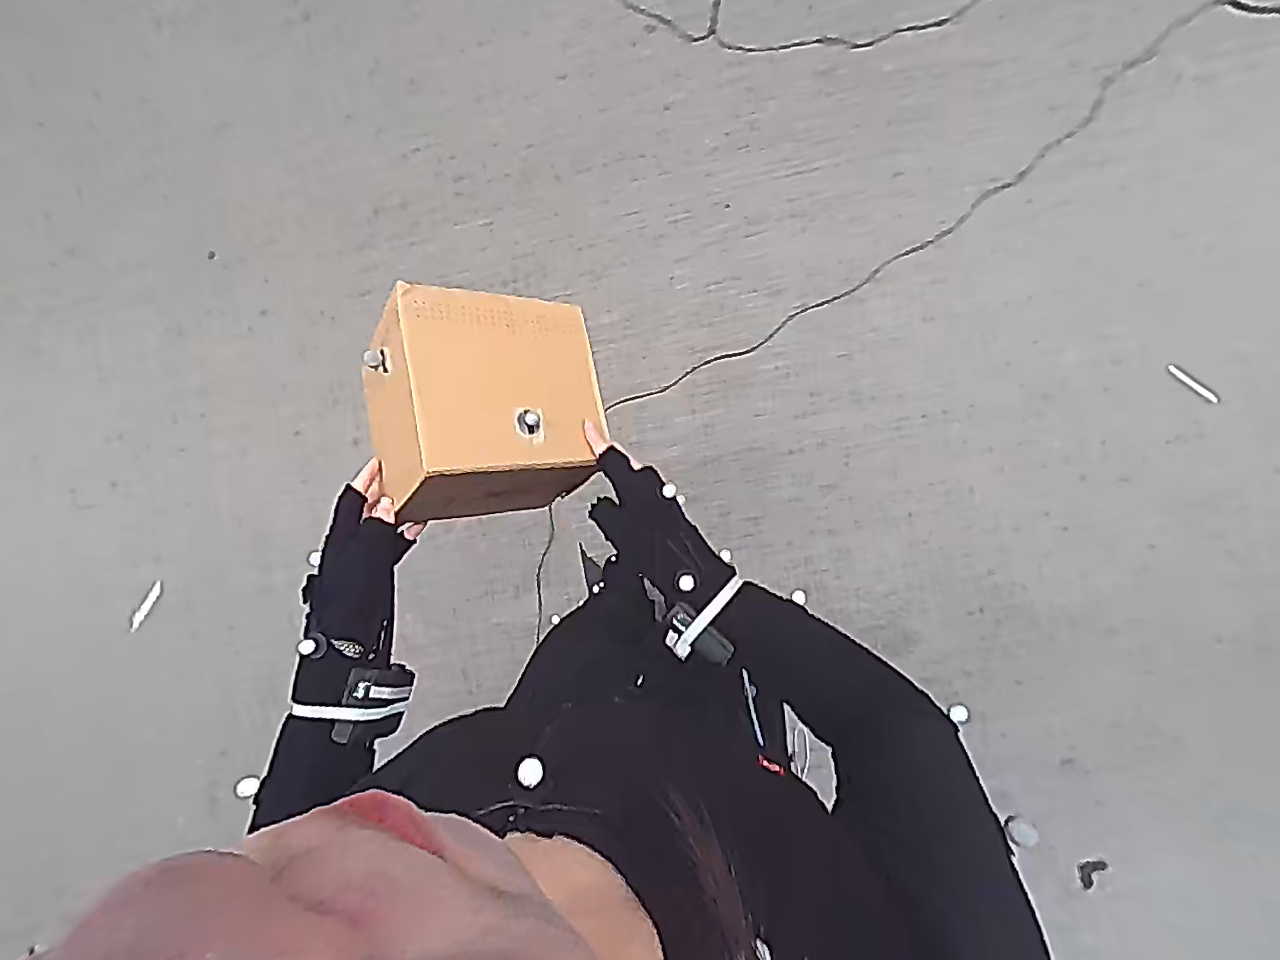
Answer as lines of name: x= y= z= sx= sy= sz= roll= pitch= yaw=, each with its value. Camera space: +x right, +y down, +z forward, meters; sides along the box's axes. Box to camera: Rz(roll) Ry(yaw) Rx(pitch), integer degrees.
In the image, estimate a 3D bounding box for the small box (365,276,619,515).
small box: x=-0.149 y=-0.073 z=0.524 sx=0.179 sy=0.168 sz=0.176 roll=-5 pitch=76 yaw=-37
